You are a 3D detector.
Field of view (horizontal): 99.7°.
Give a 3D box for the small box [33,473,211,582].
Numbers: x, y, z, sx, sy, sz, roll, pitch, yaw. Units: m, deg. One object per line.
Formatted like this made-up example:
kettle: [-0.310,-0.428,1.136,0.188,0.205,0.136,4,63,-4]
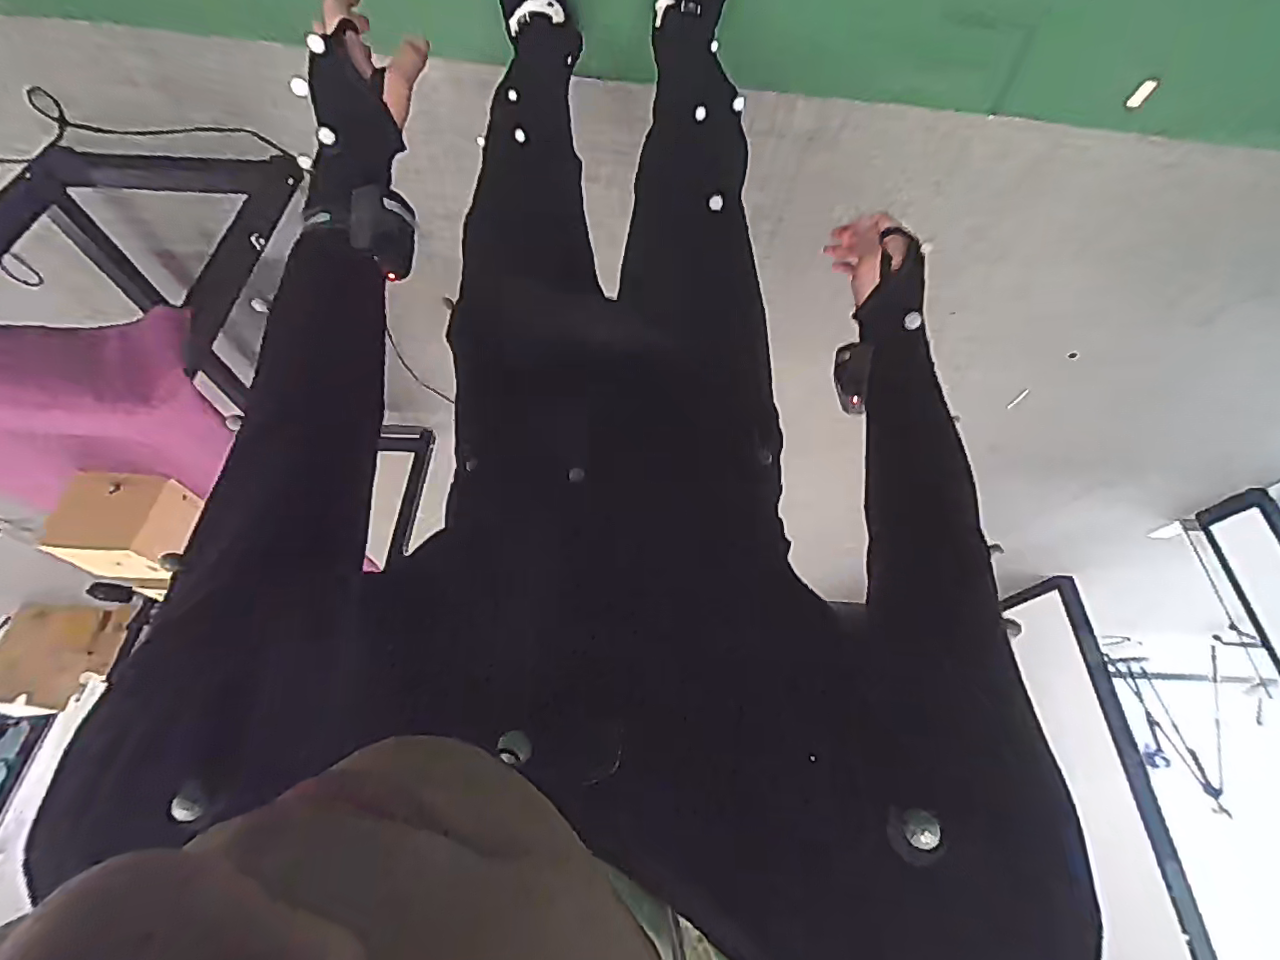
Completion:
small box: [-1.052,0.098,1.119,0.179,0.176,0.168,5,151,-4]
